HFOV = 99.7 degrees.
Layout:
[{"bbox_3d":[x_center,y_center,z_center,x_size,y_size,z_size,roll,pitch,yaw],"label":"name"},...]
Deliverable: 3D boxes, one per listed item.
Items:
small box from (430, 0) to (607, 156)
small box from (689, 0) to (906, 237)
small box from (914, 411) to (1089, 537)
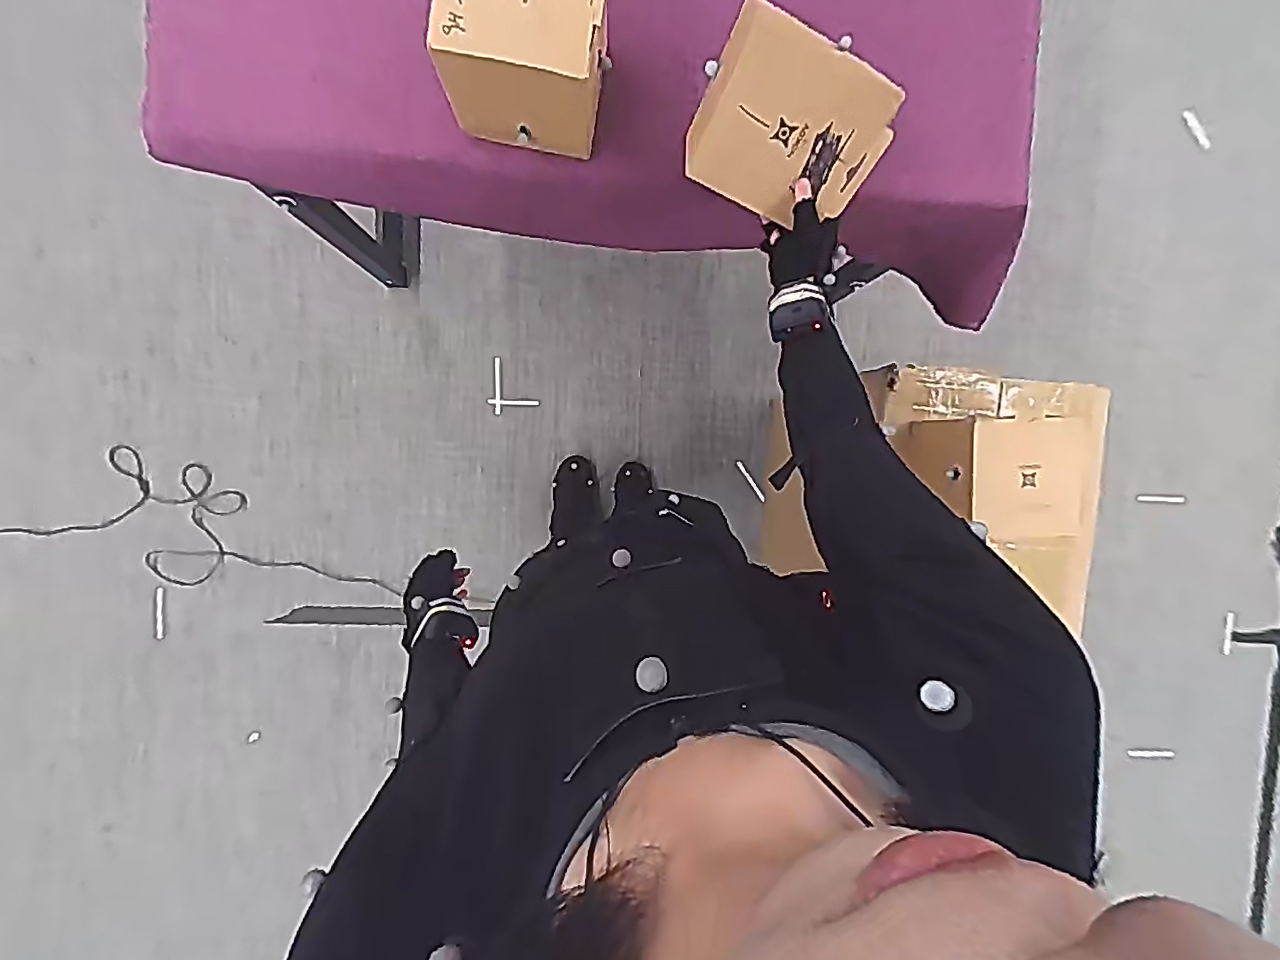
[{"bbox_3d":[-0.136,-0.532,0.662,0.179,0.176,0.168,9,91,-6],"label":"small box"},{"bbox_3d":[0.172,-0.434,0.648,0.179,0.176,0.168,21,132,-15],"label":"small box"},{"bbox_3d":[0.551,-0.012,0.846,0.168,0.176,0.179,-2,94,-2],"label":"small box"}]
